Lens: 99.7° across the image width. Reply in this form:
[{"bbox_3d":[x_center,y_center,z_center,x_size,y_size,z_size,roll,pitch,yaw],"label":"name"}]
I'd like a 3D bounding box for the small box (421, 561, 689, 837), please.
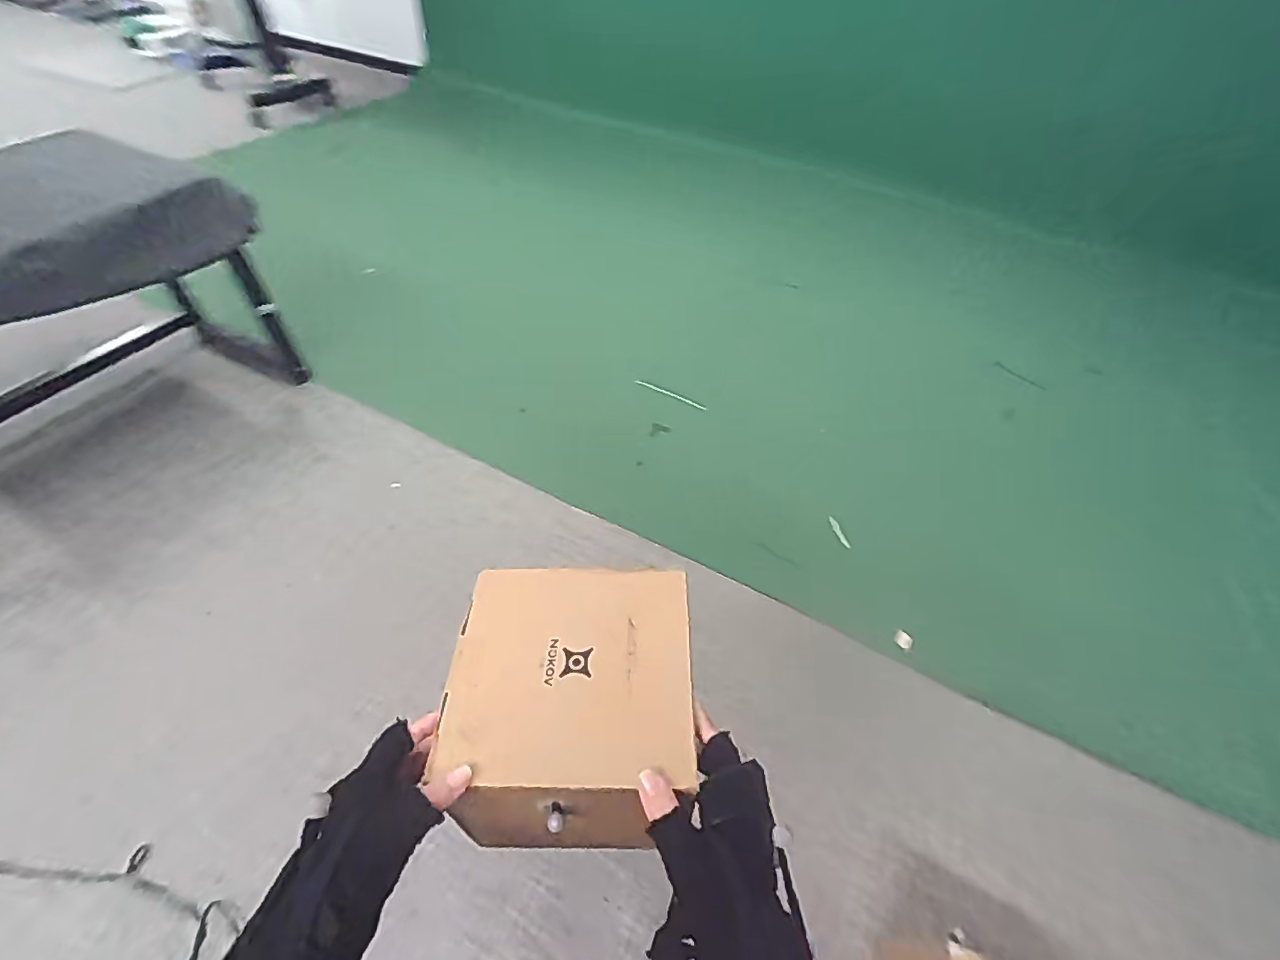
[{"bbox_3d":[-0.052,0.186,0.454,0.179,0.176,0.168,-2,46,0],"label":"small box"}]
